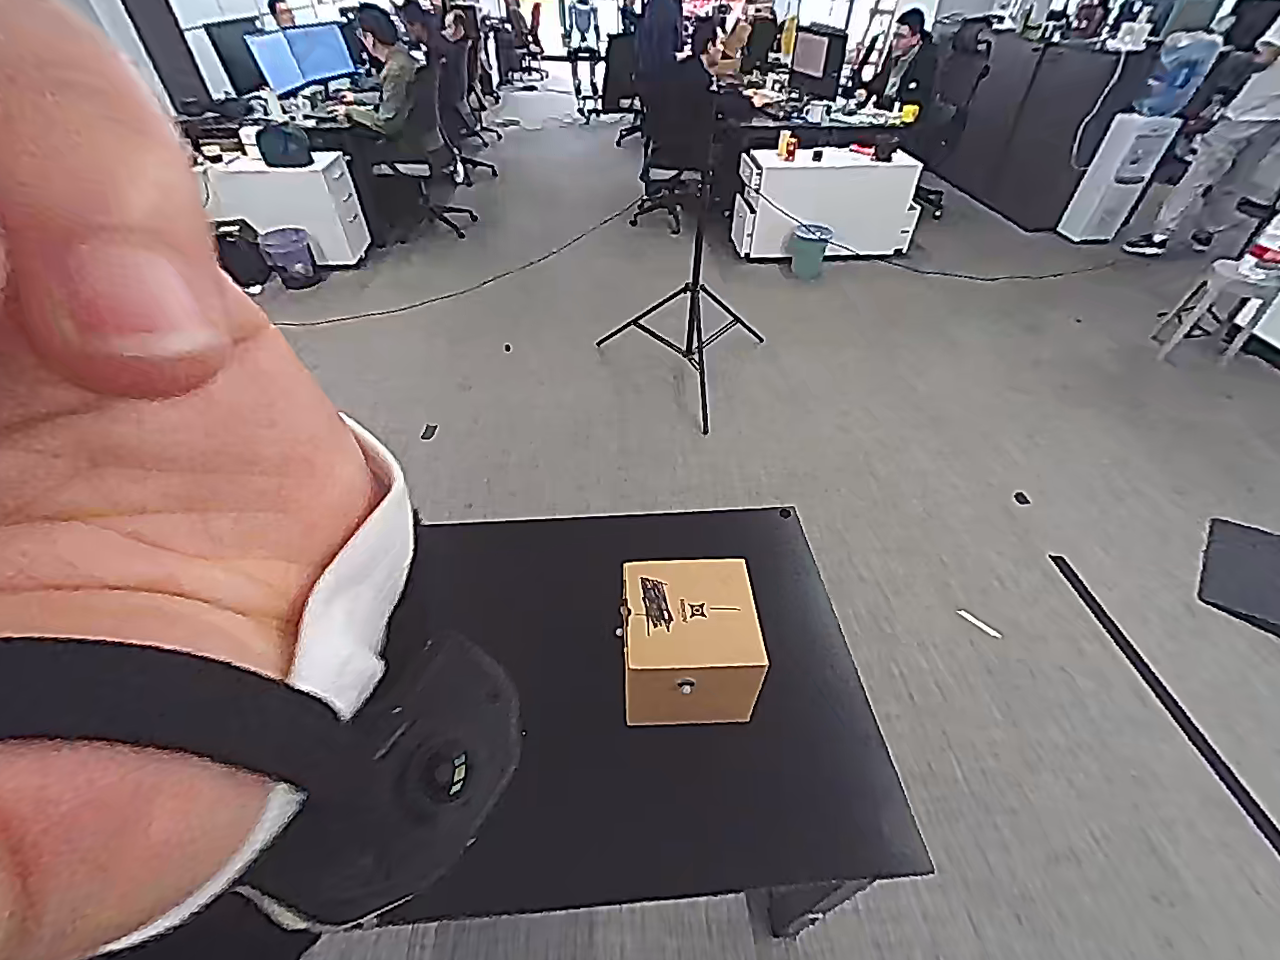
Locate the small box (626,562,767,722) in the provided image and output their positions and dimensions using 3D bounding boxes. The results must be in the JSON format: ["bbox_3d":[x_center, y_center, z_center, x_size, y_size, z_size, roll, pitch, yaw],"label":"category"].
[{"bbox_3d":[0.071,0.236,0.782,0.179,0.176,0.168,-1,44,-2],"label":"small box"}]
